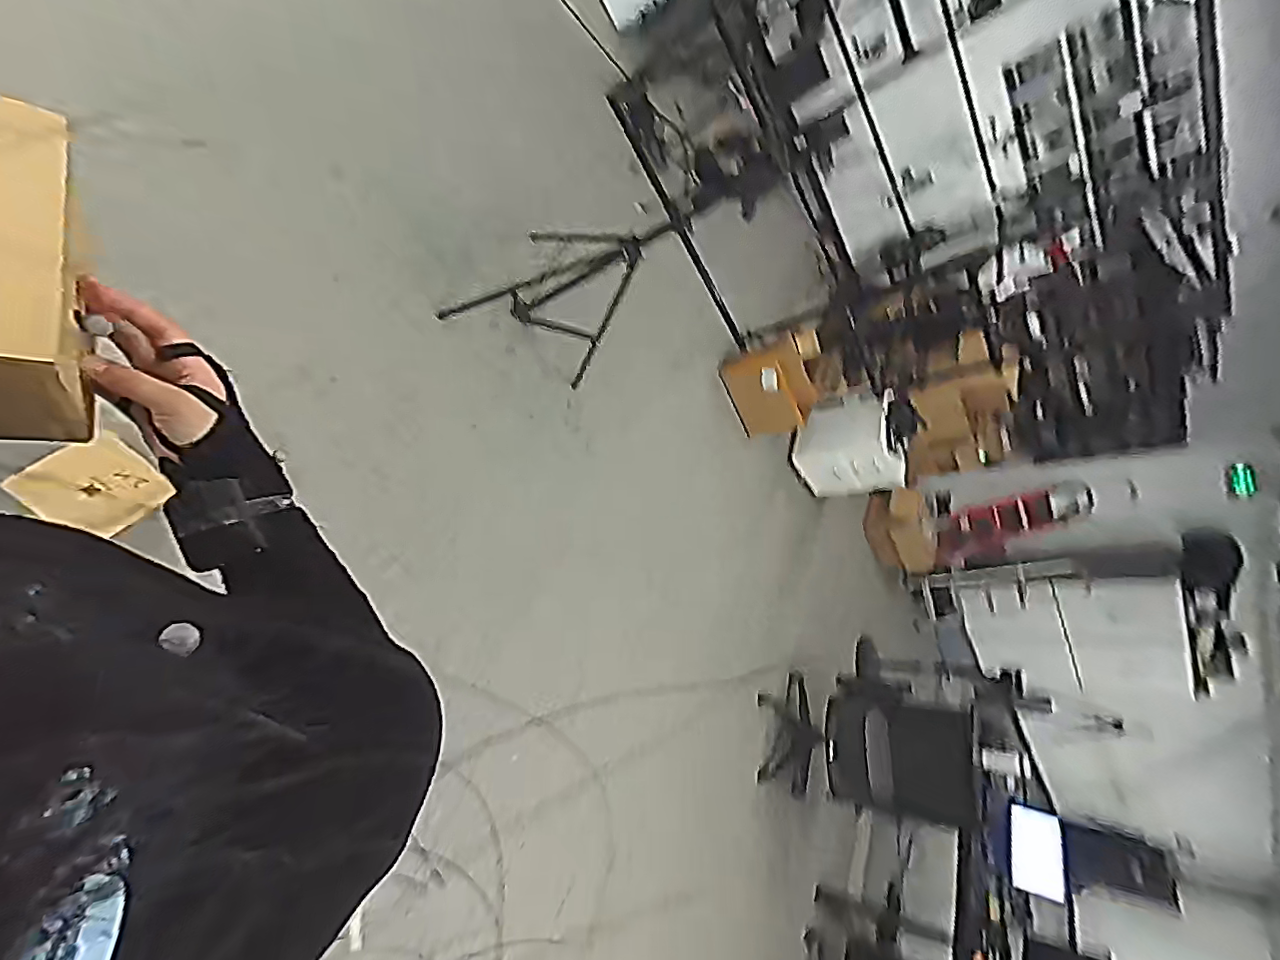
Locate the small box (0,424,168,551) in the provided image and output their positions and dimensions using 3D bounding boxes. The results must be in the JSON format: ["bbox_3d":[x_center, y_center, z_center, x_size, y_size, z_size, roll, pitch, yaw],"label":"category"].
[{"bbox_3d":[-1.068,0.020,1.035,0.168,0.176,0.179,58,44,-24],"label":"small box"}]

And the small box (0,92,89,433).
[{"bbox_3d":[-0.460,-0.129,0.321,0.179,0.176,0.168,-2,79,-40],"label":"small box"}]
